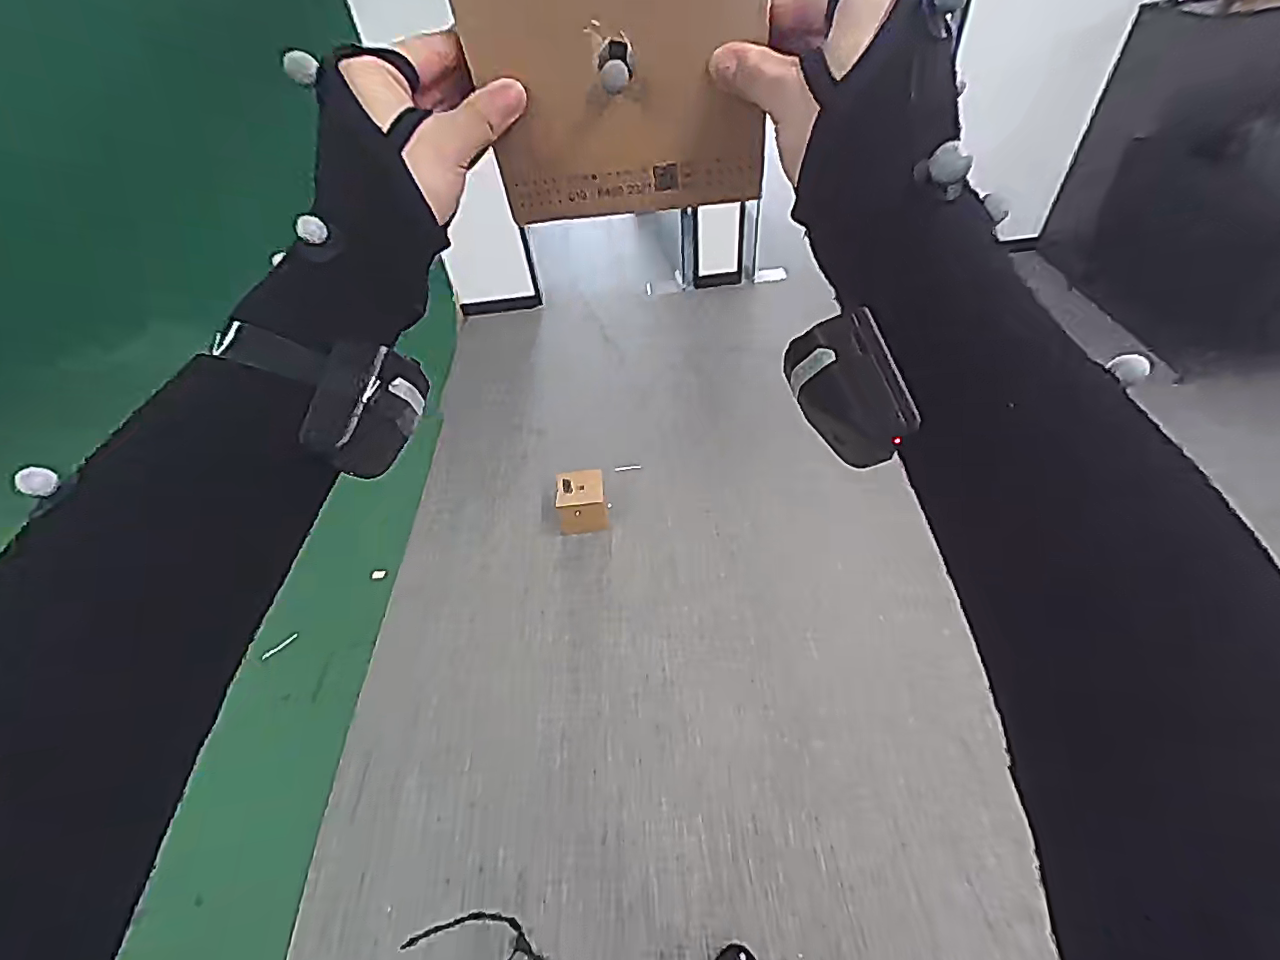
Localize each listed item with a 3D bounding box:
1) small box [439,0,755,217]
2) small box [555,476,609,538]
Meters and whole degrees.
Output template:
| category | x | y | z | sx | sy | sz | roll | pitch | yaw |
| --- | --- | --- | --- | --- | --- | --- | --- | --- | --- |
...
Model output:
| category | x | y | z | sx | sy | sz | roll | pitch | yaw |
| --- | --- | --- | --- | --- | --- | --- | --- | --- | --- |
| small box | -0.013 | -0.287 | 0.352 | 0.168 | 0.176 | 0.179 | -2 | 49 | 8 |
| small box | -0.216 | 0.107 | 2.054 | 0.179 | 0.176 | 0.168 | -6 | 47 | 0 |
